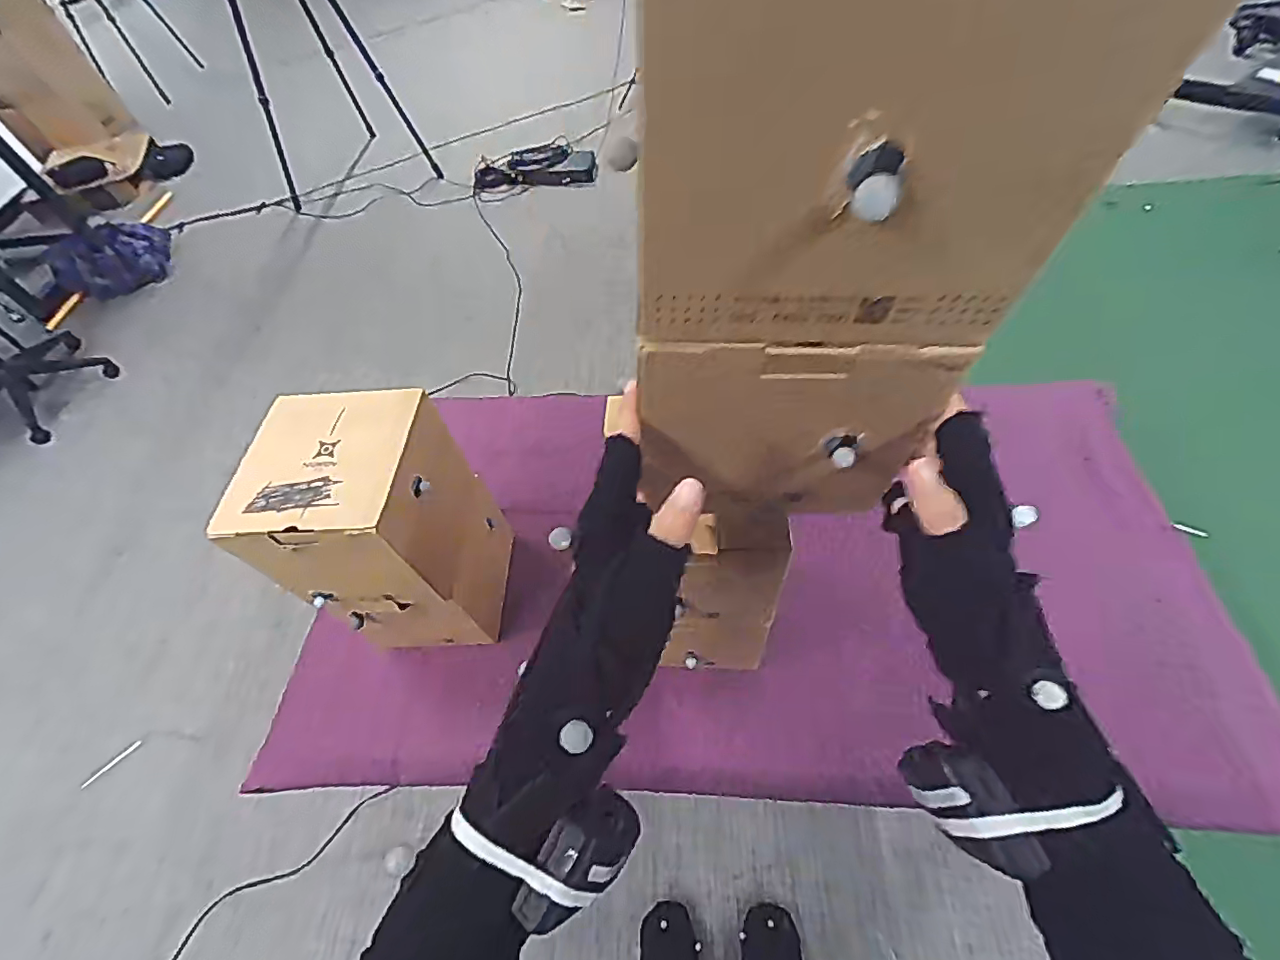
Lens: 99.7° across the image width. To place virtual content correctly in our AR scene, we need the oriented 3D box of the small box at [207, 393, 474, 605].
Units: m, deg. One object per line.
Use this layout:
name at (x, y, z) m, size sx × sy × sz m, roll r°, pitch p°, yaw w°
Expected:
small box at (-0.298, 0.026, 0.589) m, size 0.168 × 0.176 × 0.179 m, roll 1°, pitch 56°, yaw 5°

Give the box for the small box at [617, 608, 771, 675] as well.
small box at (0.069, 0.130, 0.680) m, size 0.168 × 0.176 × 0.179 m, roll 0°, pitch 56°, yaw 7°

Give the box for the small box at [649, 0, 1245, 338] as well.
small box at (0.088, -0.175, 0.219) m, size 0.168 × 0.176 × 0.179 m, roll 1°, pitch 60°, yaw 1°

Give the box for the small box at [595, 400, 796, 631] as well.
small box at (0.054, 0.038, 0.547) m, size 0.168 × 0.176 × 0.179 m, roll -1°, pitch 56°, yaw 6°

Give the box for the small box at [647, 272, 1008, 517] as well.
small box at (0.091, -0.087, 0.357) m, size 0.168 × 0.176 × 0.179 m, roll 1°, pitch 59°, yaw 2°
